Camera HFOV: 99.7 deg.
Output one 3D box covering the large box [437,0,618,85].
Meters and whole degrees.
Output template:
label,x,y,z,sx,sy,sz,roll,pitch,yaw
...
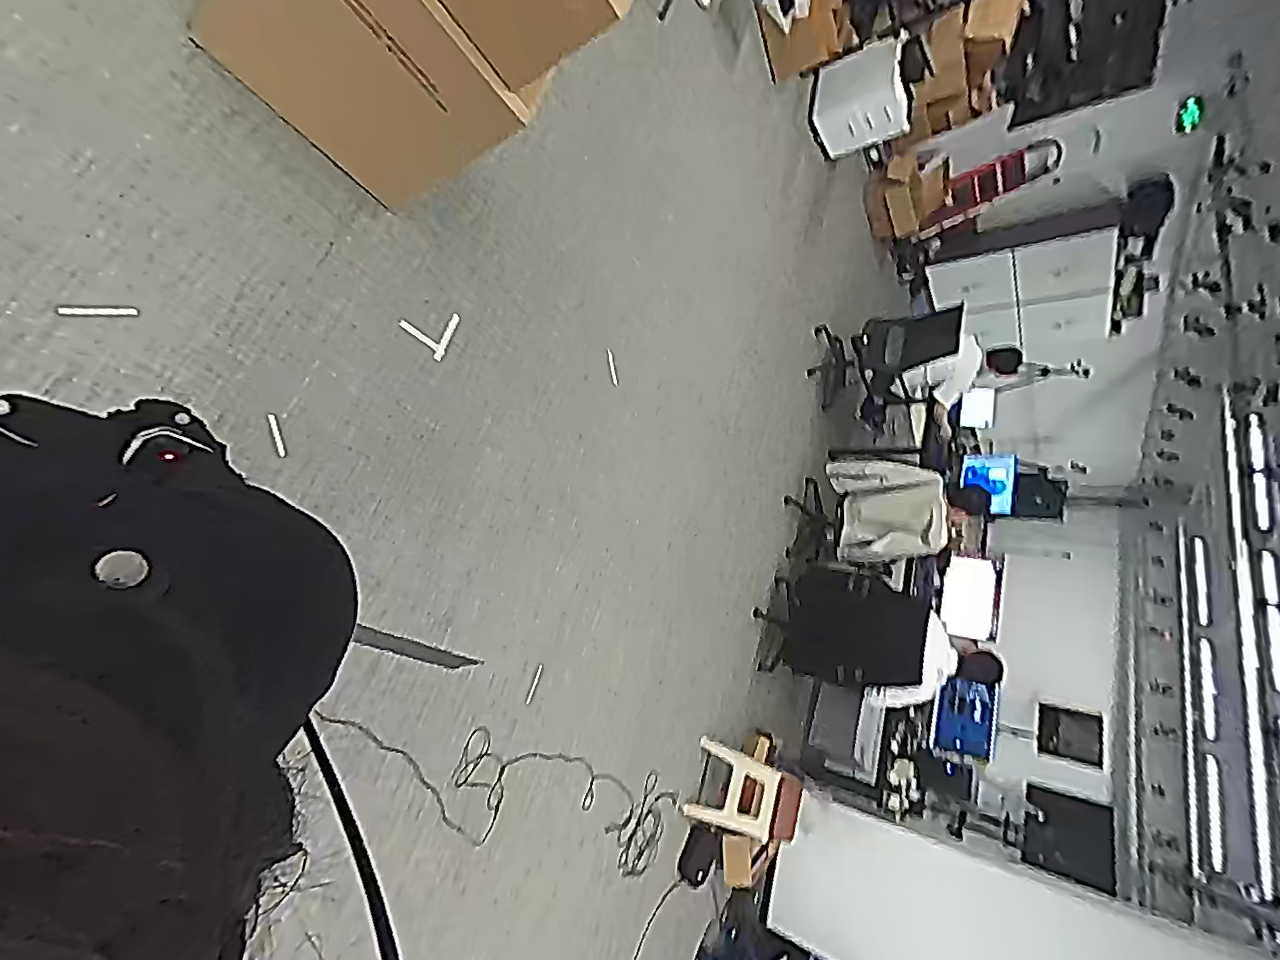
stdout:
label,x,y,z,sx,sy,sz,roll,pitch,yaw
large box,-0.244,-1.061,0.980,0.408,0.320,0.320,38,63,-47
